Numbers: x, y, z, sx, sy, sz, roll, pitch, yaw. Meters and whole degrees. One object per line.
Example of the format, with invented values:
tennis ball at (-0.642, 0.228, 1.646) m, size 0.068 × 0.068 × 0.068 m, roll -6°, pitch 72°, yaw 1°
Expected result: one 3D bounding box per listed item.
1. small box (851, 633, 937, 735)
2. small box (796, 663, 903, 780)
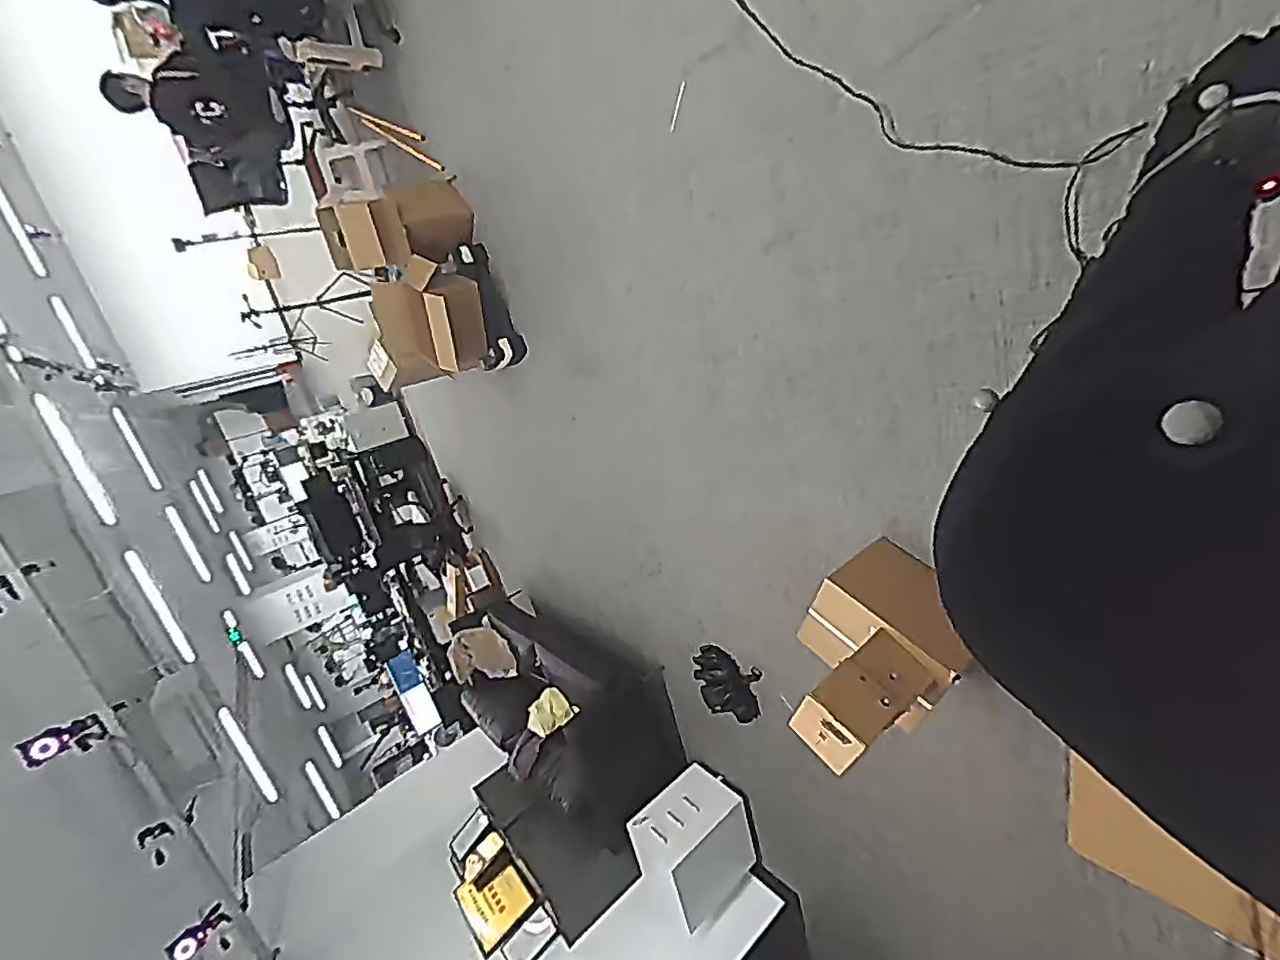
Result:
small box at (0.655, 0.549, 1.456) m, size 0.179 × 0.176 × 0.168 m, roll 45°, pitch 144°, yaw 31°
small box at (0.528, 0.597, 1.357) m, size 0.168 × 0.176 × 0.179 m, roll 40°, pitch 138°, yaw 35°
